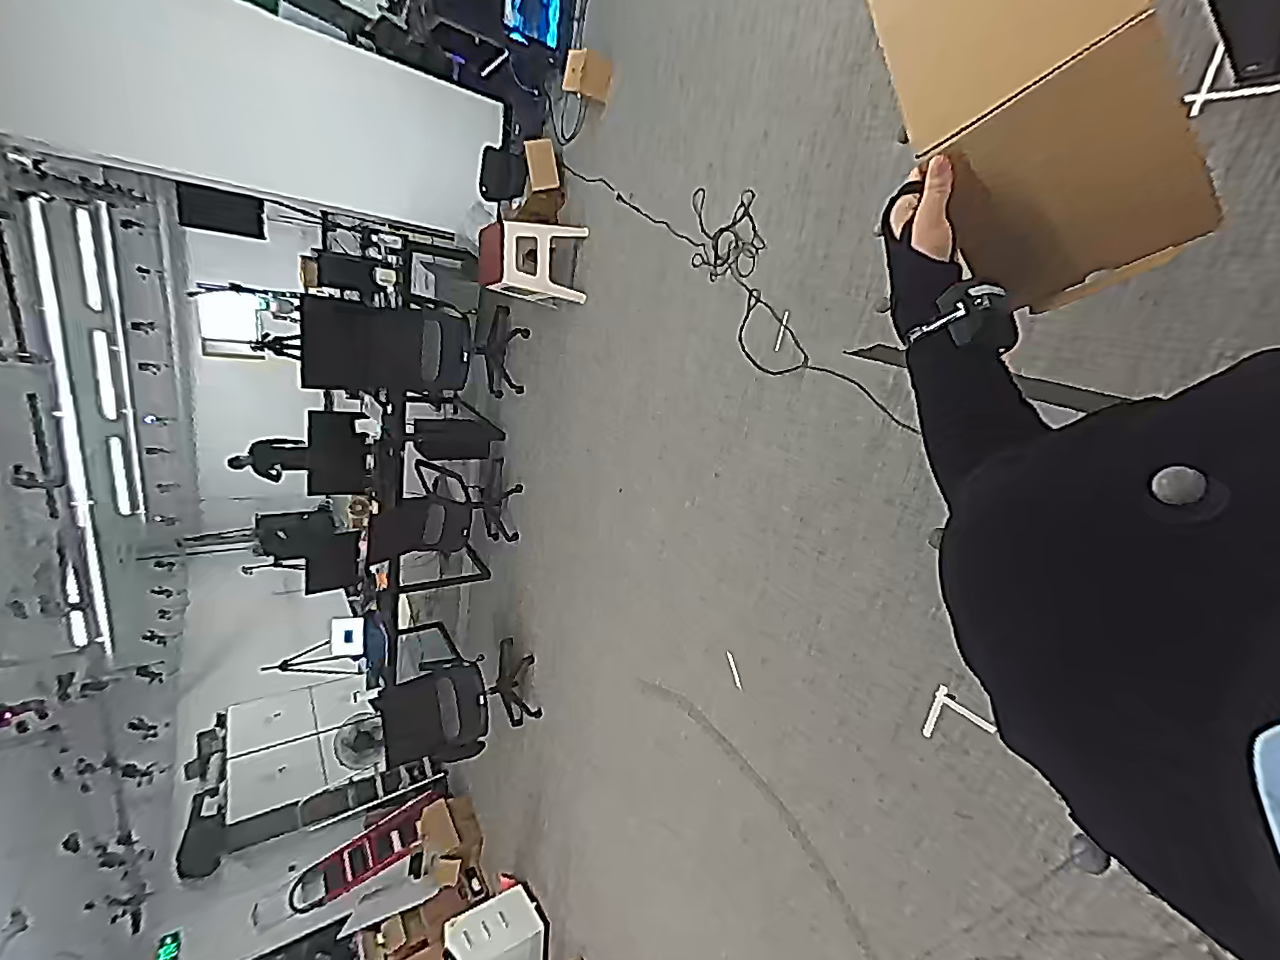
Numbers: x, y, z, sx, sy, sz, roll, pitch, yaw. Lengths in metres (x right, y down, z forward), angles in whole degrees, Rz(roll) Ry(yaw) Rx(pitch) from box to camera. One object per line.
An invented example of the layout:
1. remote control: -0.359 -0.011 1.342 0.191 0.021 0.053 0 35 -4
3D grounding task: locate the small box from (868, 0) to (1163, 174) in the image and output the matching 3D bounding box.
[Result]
1. small box: 0.337 -0.408 0.489 0.168 0.176 0.179 -17 86 47
